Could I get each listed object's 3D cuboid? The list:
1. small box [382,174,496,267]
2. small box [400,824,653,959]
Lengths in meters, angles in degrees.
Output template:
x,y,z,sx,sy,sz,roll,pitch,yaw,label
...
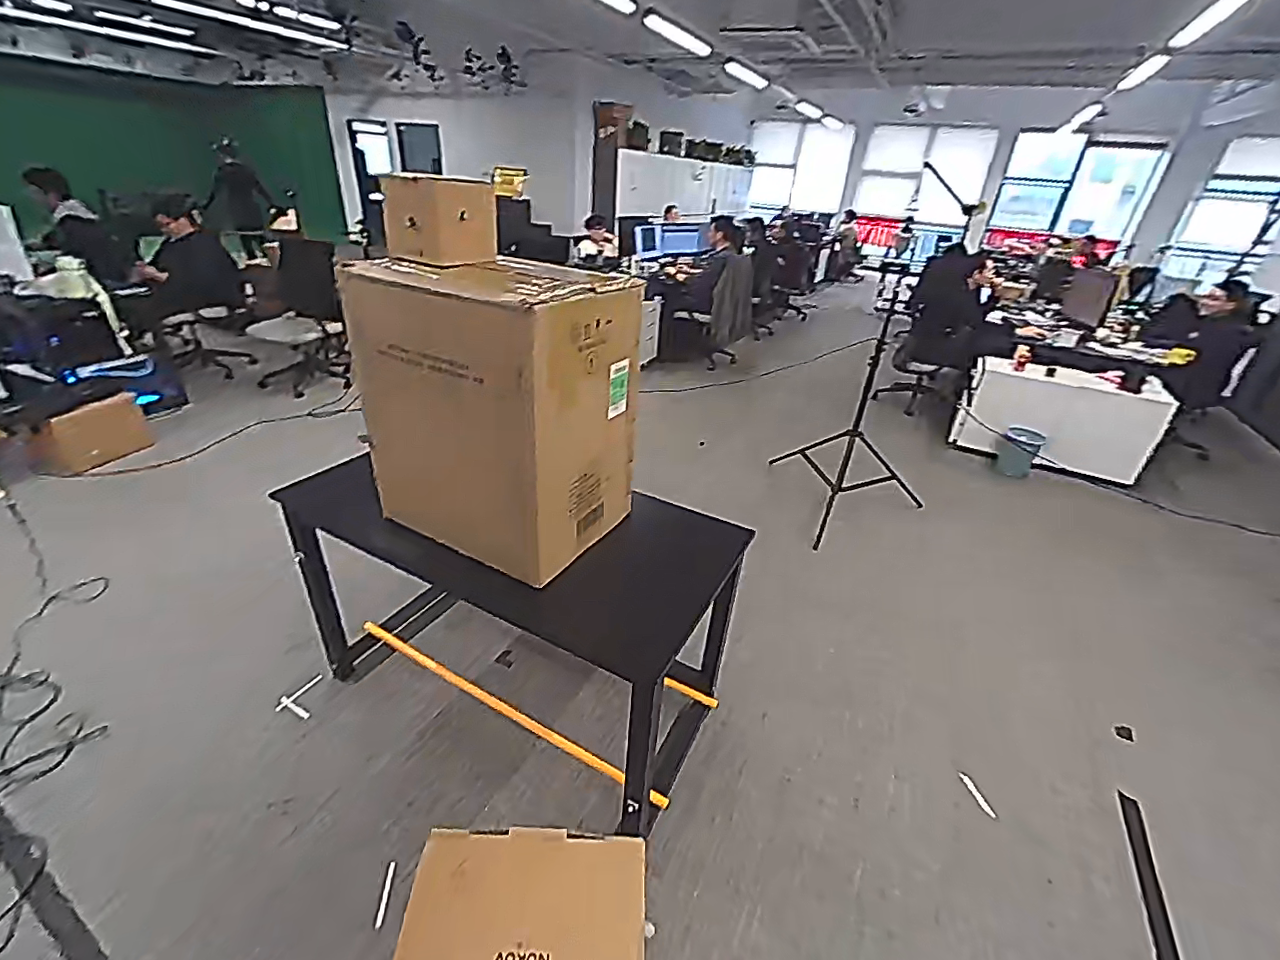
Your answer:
x,y,z,sx,sy,sz,roll,pitch,yaw,label
-0.437,-0.578,1.205,0.168,0.176,0.179,18,31,22,small box
-0.081,0.378,0.393,0.168,0.176,0.179,4,42,-3,small box
